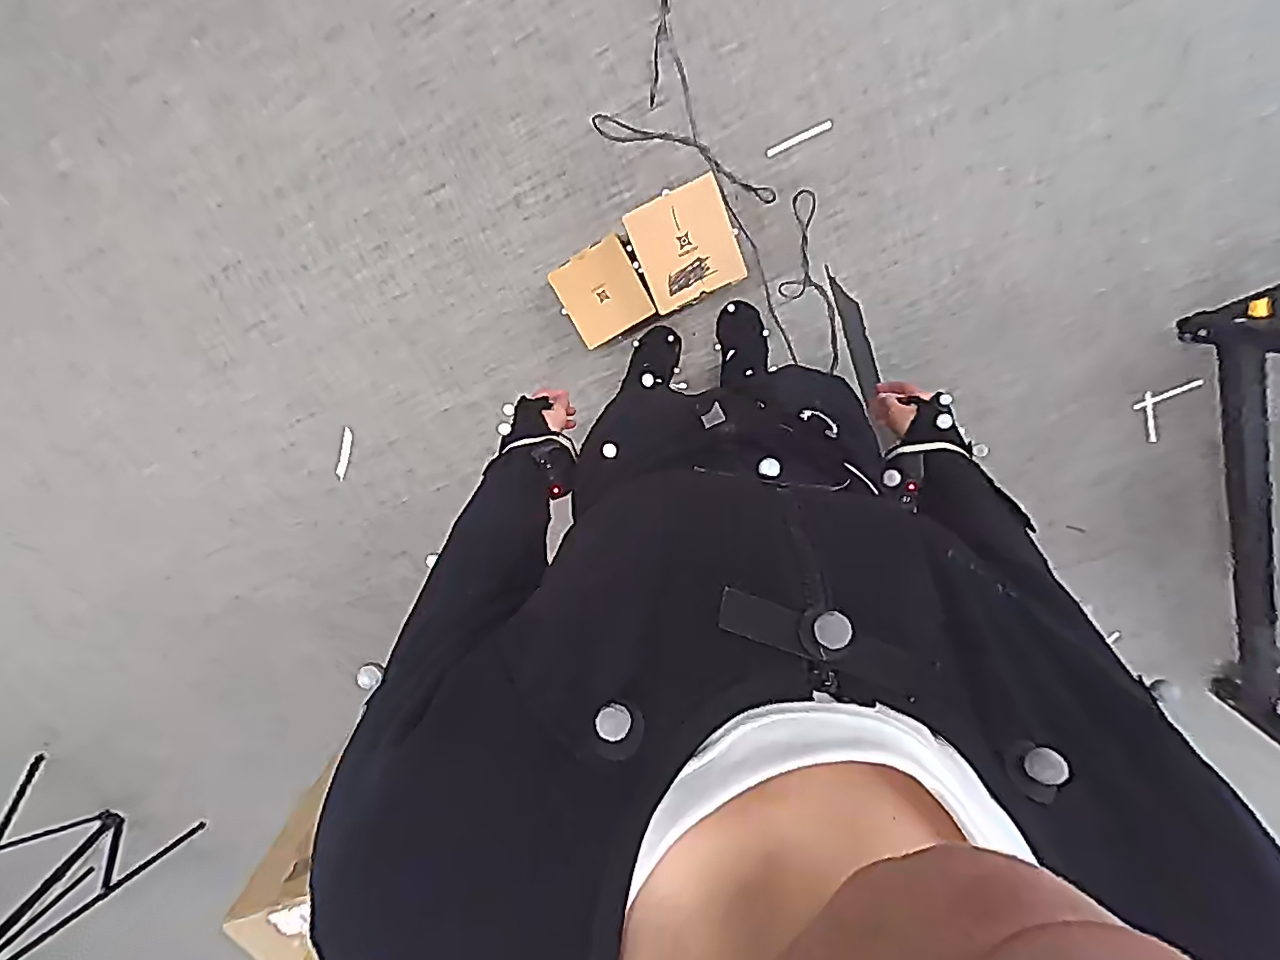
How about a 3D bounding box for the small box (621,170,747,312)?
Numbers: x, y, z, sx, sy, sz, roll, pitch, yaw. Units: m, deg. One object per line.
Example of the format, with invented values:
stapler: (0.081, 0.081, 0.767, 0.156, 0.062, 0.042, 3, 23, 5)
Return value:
small box: (0.080, -0.424, 0.975, 0.168, 0.176, 0.179, -22, 109, 10)
